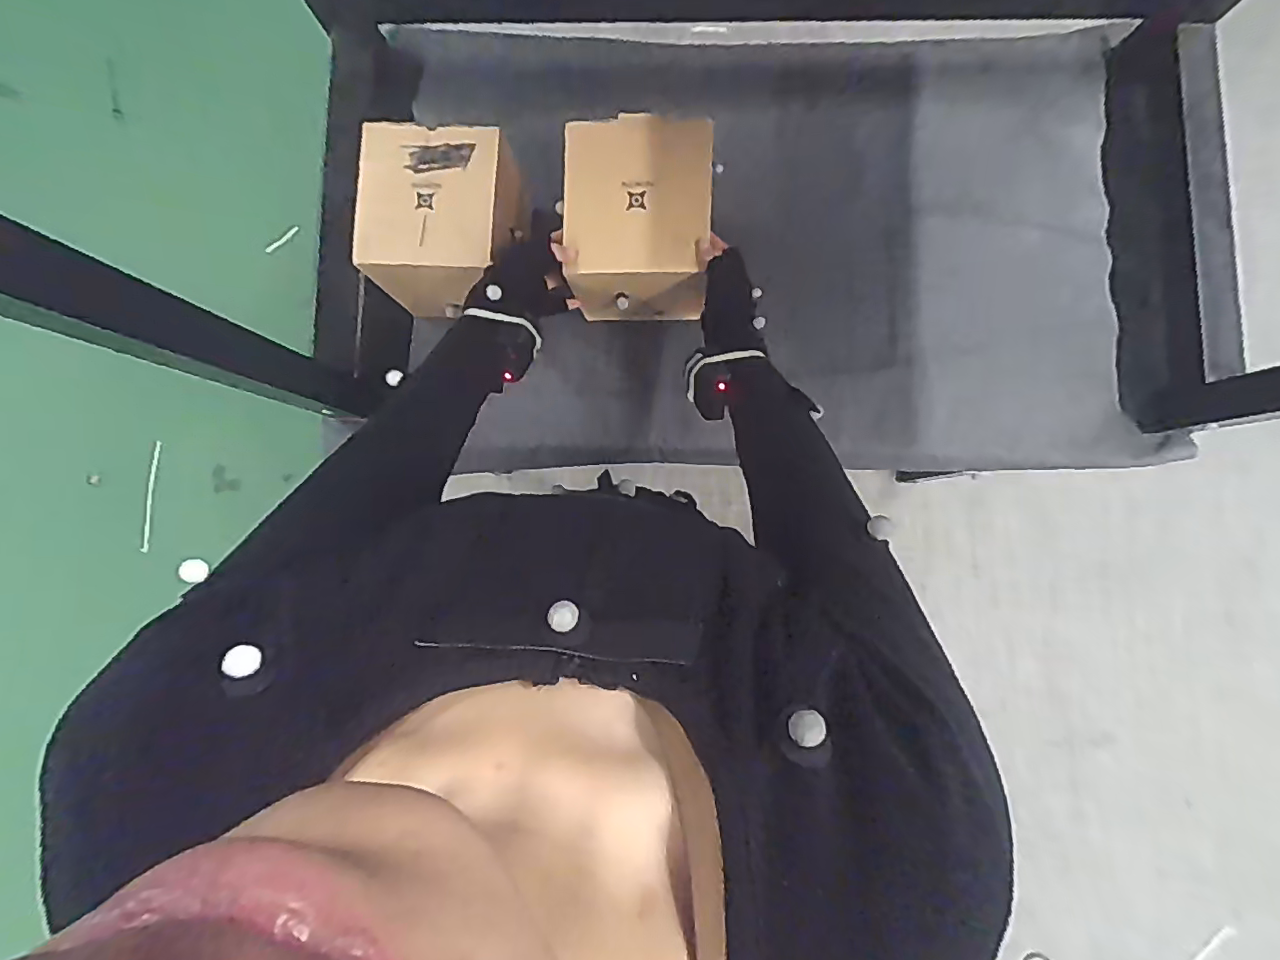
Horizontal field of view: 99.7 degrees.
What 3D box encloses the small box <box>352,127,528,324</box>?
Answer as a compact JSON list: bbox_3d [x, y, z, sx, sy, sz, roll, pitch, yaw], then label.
[{"bbox_3d":[-0.249,-0.325,0.717,0.168,0.176,0.179,3,86,2],"label":"small box"}]
